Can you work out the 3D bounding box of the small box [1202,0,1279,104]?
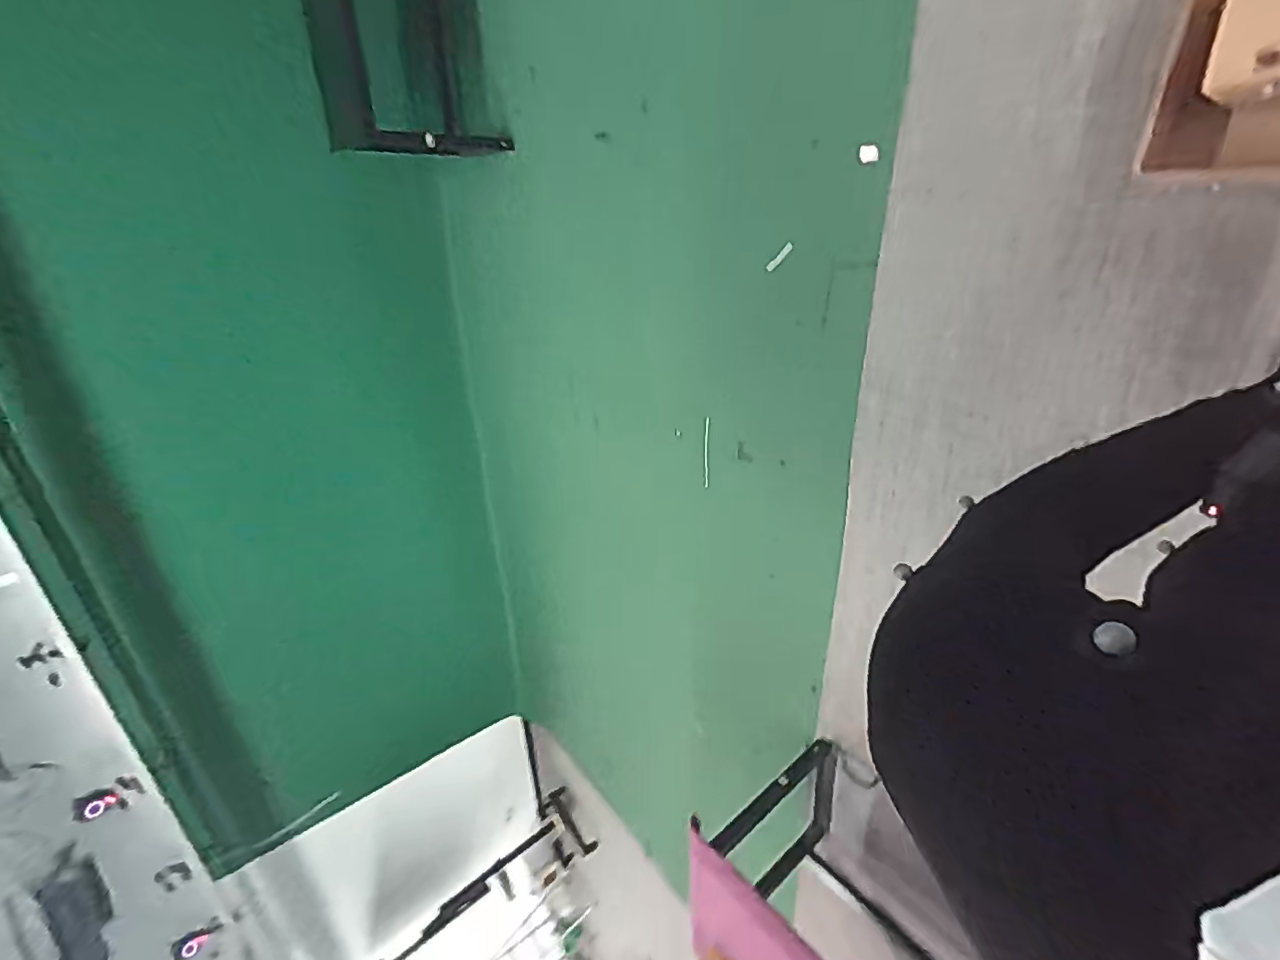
[{"bbox_3d":[0.878,-0.614,0.697,0.168,0.176,0.179,24,124,45],"label":"small box"}]
